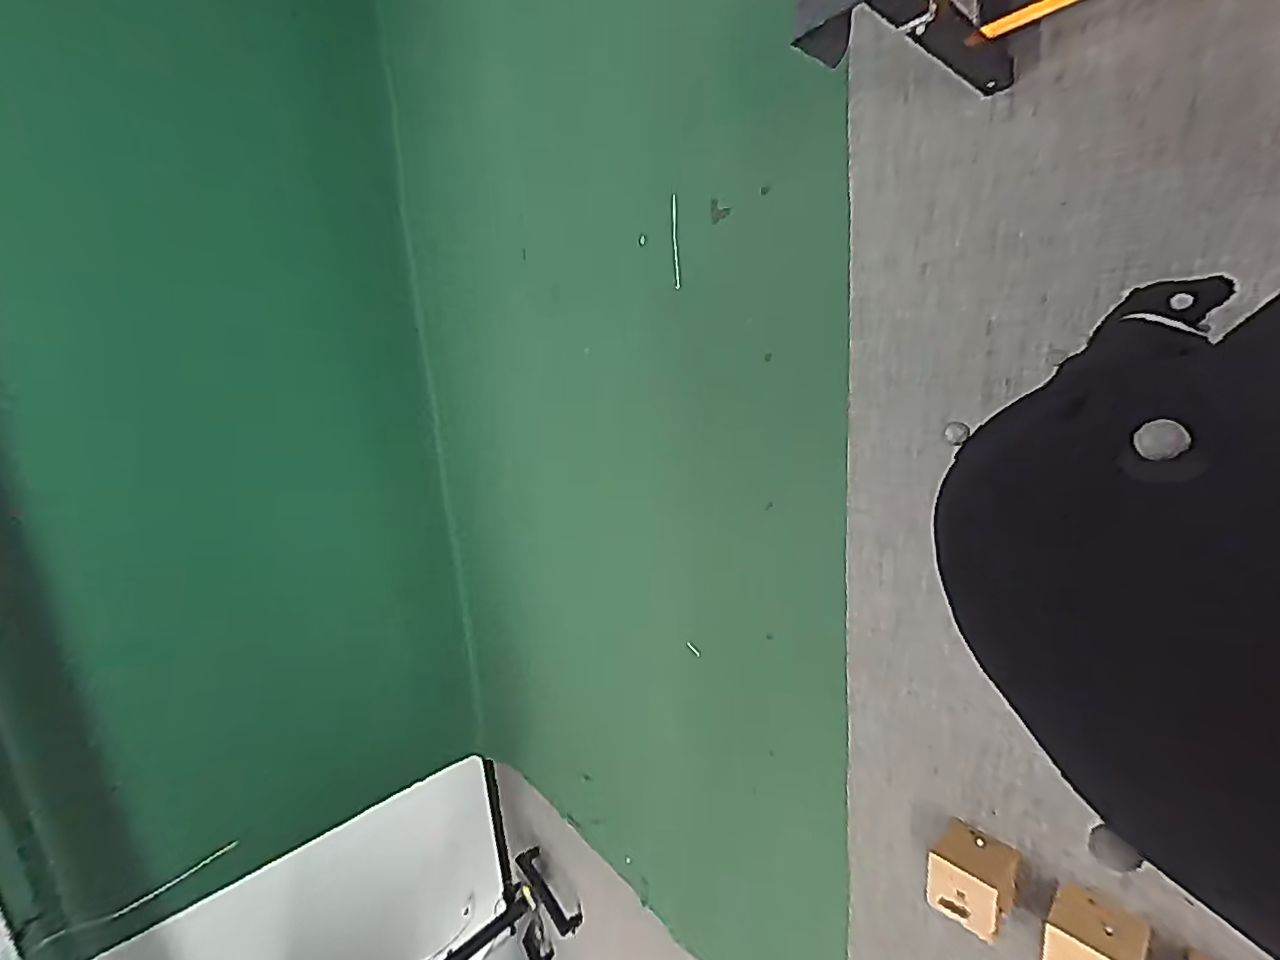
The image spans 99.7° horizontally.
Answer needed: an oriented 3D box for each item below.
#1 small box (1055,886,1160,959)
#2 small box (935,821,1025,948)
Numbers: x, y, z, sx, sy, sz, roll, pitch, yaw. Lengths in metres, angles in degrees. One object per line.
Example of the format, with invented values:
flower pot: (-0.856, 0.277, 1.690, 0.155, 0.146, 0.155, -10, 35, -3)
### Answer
small box: (1.101, 1.123, 1.276, 0.168, 0.176, 0.179, 8, 107, 49)
small box: (0.927, 1.089, 1.471, 0.168, 0.176, 0.179, 9, 106, 48)
